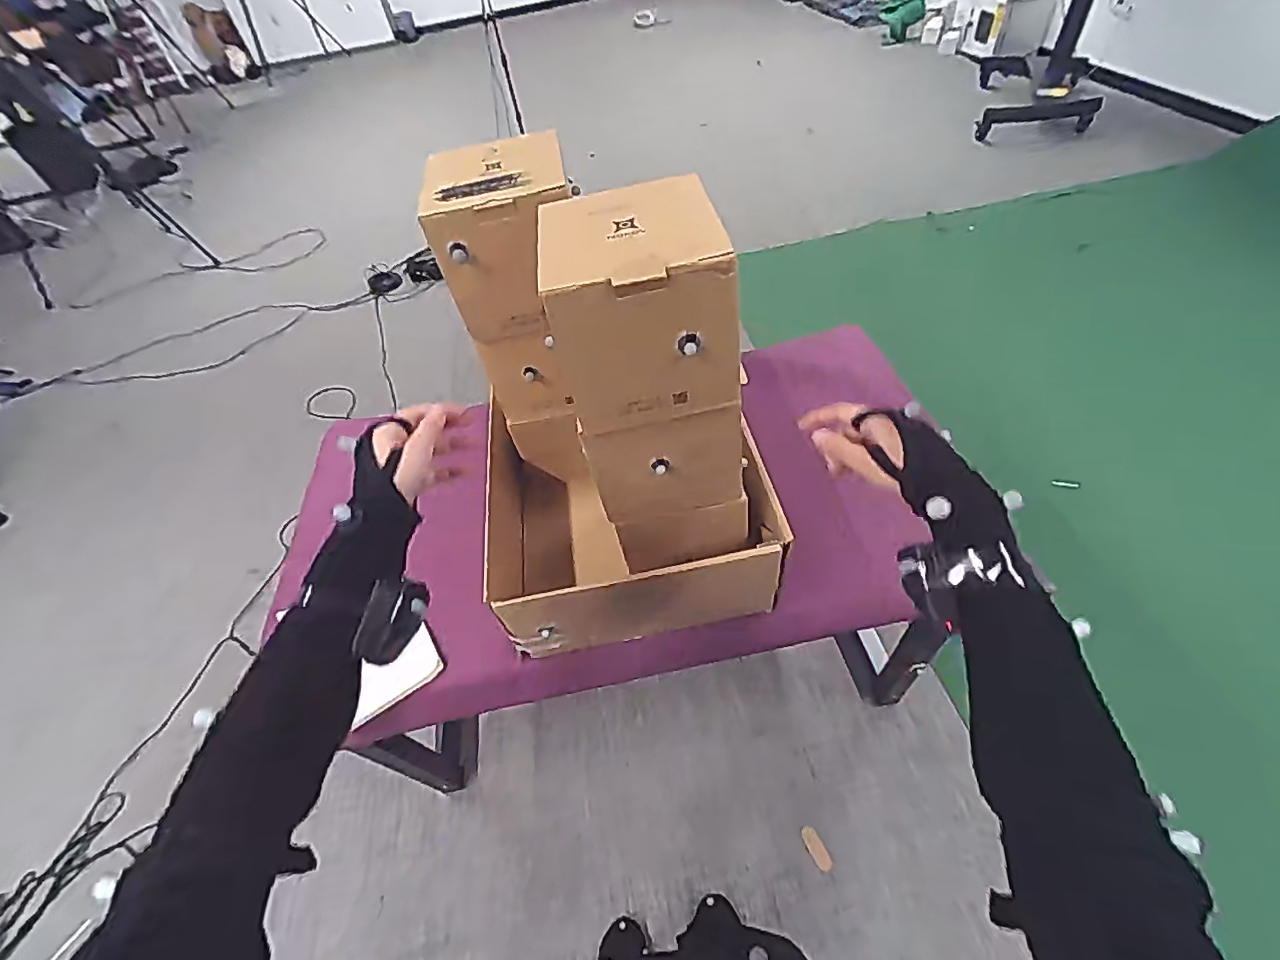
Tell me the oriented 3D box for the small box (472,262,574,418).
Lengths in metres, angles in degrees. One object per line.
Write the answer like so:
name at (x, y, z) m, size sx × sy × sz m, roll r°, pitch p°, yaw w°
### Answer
small box at (-0.145, -0.212, 0.830) m, size 0.168 × 0.176 × 0.179 m, roll -10°, pitch 51°, yaw 1°

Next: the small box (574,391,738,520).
small box at (0.020, -0.072, 0.678) m, size 0.179 × 0.176 × 0.168 m, roll -12°, pitch 48°, yaw 3°

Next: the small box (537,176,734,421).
small box at (-0.002, -0.177, 0.554) m, size 0.168 × 0.176 × 0.179 m, roll -11°, pitch 48°, yaw 2°
